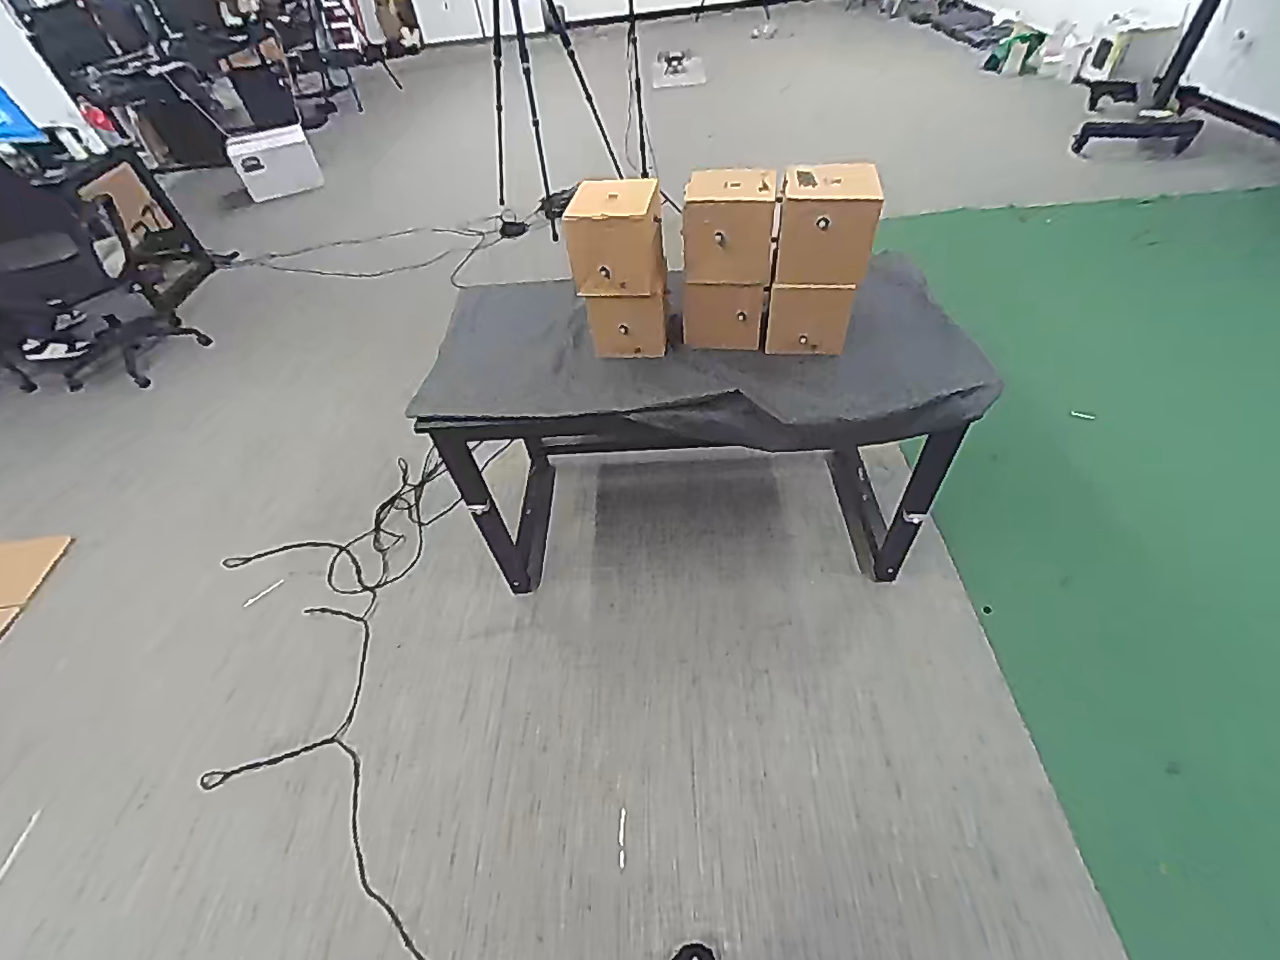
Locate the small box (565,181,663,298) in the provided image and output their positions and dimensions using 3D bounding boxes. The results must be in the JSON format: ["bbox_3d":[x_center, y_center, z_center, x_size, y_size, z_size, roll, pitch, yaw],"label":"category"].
[{"bbox_3d":[-0.045,-0.507,1.140,0.168,0.176,0.179,3,51,11],"label":"small box"}]
